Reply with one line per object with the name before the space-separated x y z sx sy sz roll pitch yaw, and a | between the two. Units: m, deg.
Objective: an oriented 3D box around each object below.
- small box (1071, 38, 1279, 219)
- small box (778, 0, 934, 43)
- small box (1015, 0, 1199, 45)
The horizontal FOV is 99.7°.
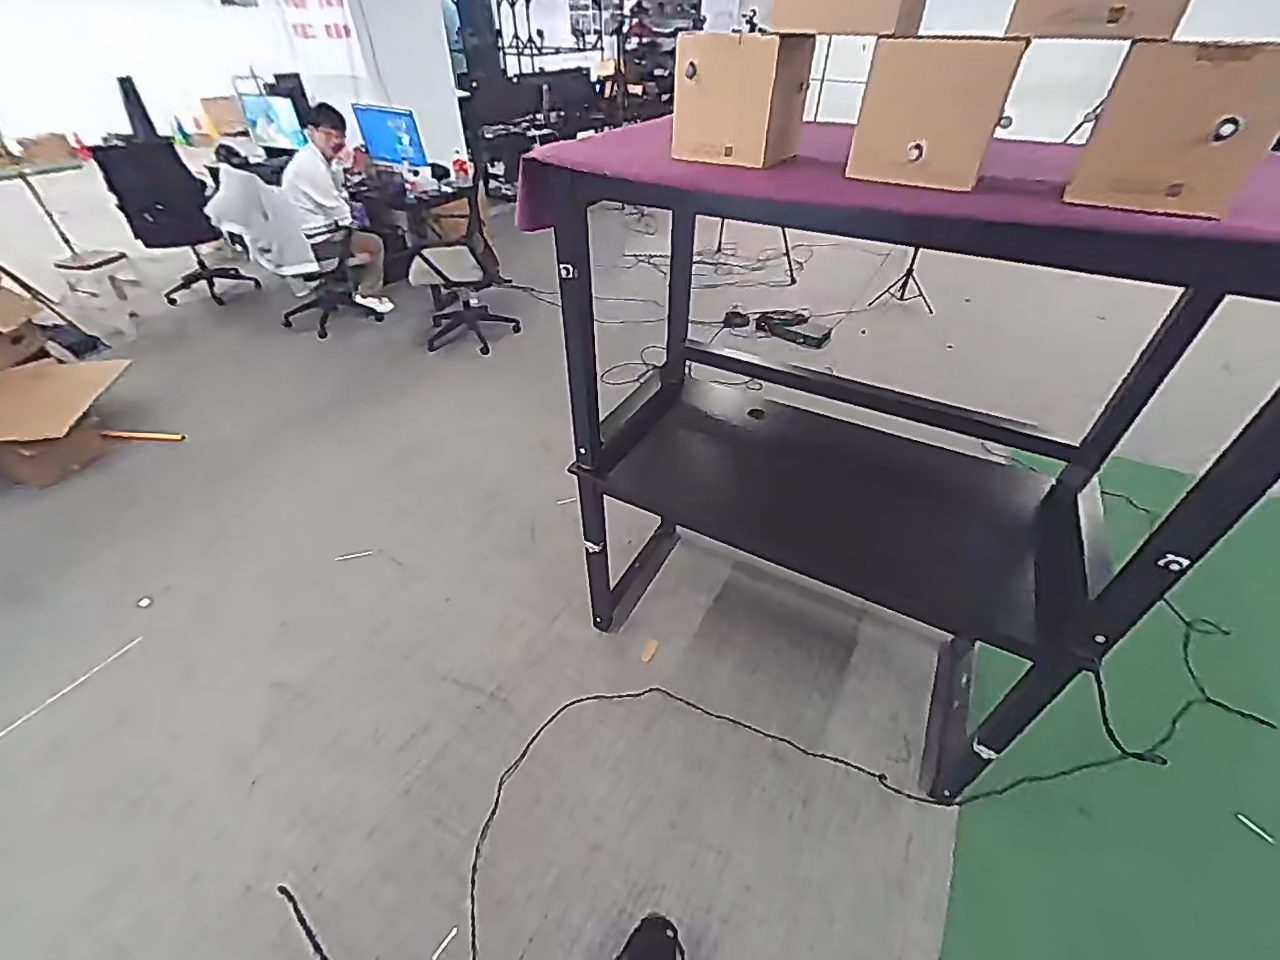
small box | 0.668 -0.433 0.665 0.168 0.176 0.179 24 44 26
small box | 0.303 -0.700 0.724 0.179 0.176 0.168 23 44 23
small box | 0.557 -0.606 0.614 0.168 0.176 0.179 24 45 25
